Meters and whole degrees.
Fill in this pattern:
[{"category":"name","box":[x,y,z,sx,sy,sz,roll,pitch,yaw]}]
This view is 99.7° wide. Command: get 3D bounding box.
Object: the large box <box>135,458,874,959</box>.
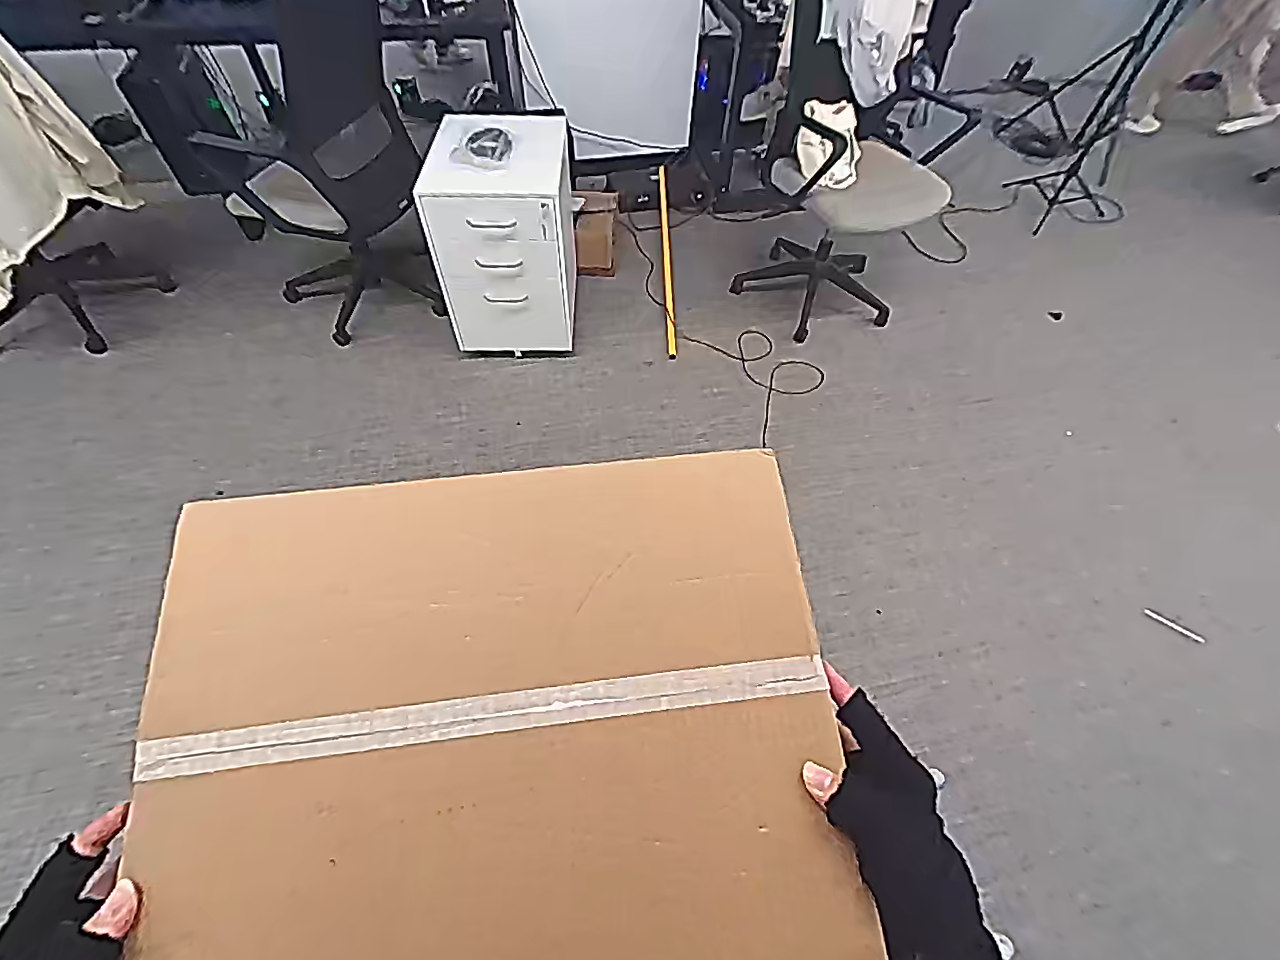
[{"category":"large box","box":[-0.088,0.199,0.475,0.408,0.320,0.320,-5,70,-4]}]
